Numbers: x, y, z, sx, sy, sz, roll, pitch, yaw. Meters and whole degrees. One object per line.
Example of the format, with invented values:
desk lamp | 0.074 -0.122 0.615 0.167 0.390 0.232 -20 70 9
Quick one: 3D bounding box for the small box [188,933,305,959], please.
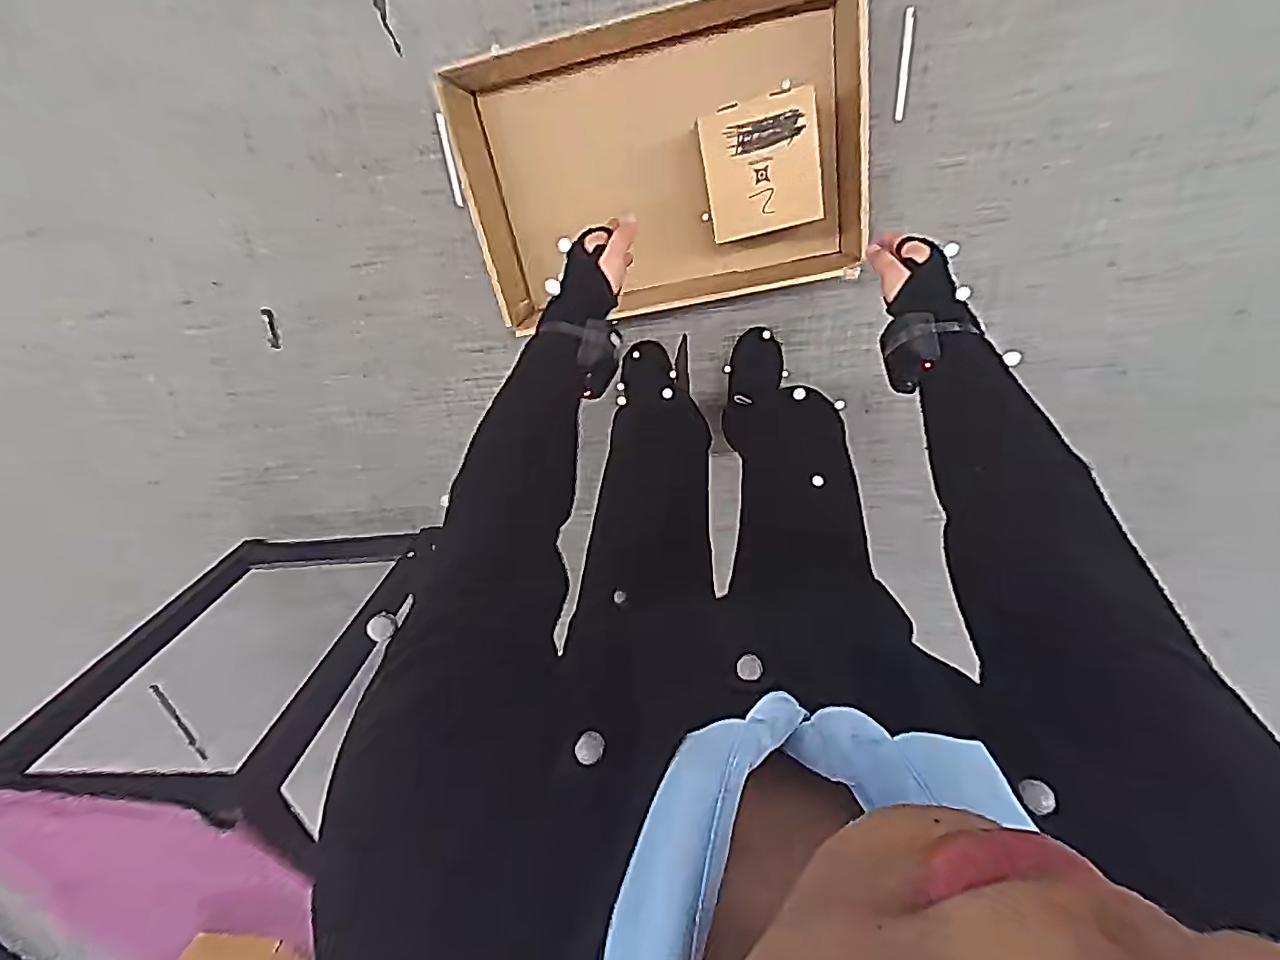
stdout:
small box | -0.721 0.935 0.951 0.179 0.176 0.168 -3 119 7
